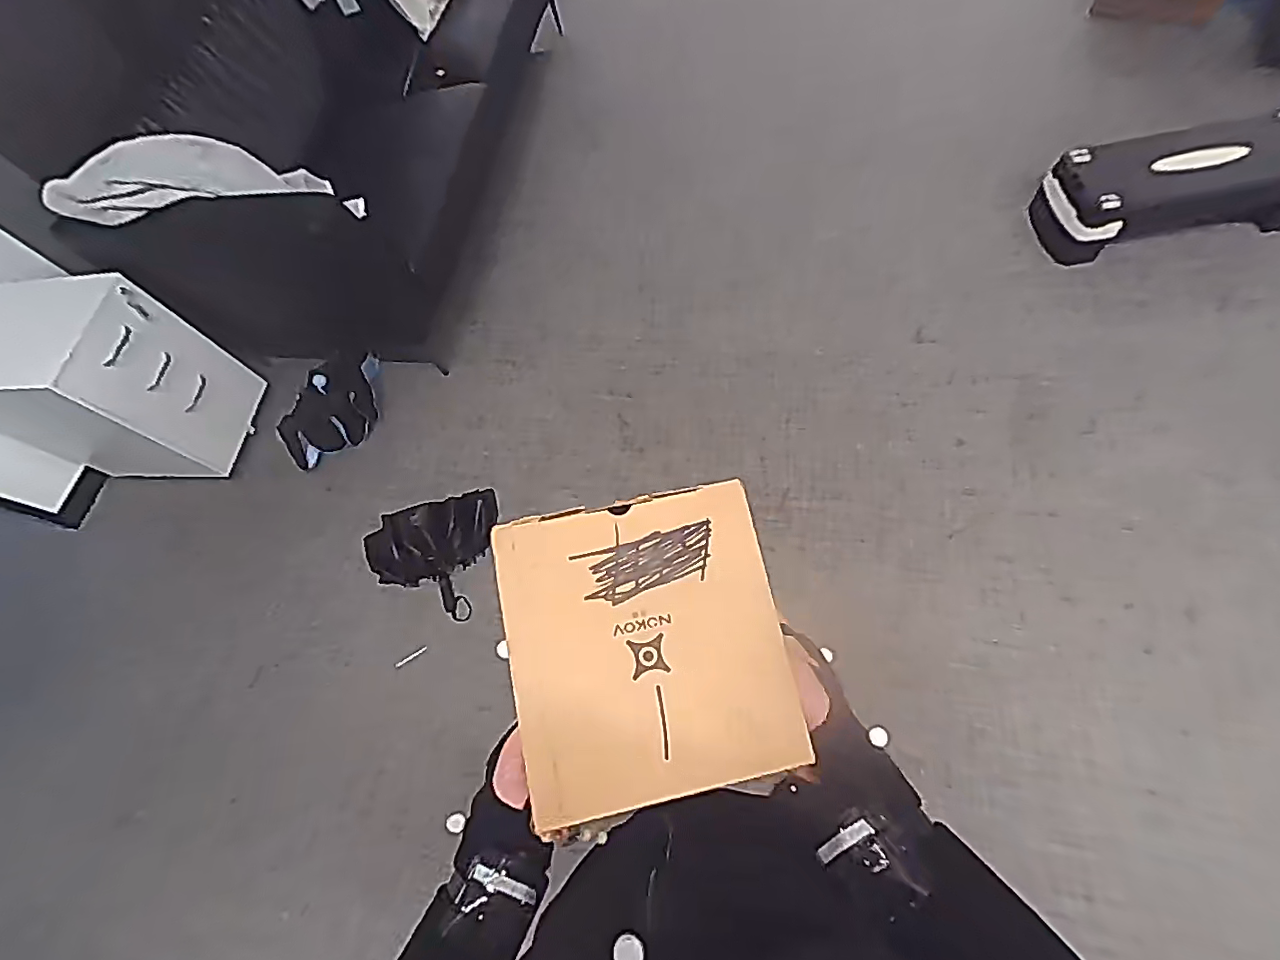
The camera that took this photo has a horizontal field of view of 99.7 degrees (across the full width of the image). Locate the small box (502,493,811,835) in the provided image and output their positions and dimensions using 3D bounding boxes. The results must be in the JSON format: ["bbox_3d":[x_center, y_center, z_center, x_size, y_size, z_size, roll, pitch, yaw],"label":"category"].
[{"bbox_3d":[0.000,0.125,0.407,0.168,0.176,0.179,-10,76,-7],"label":"small box"}]
